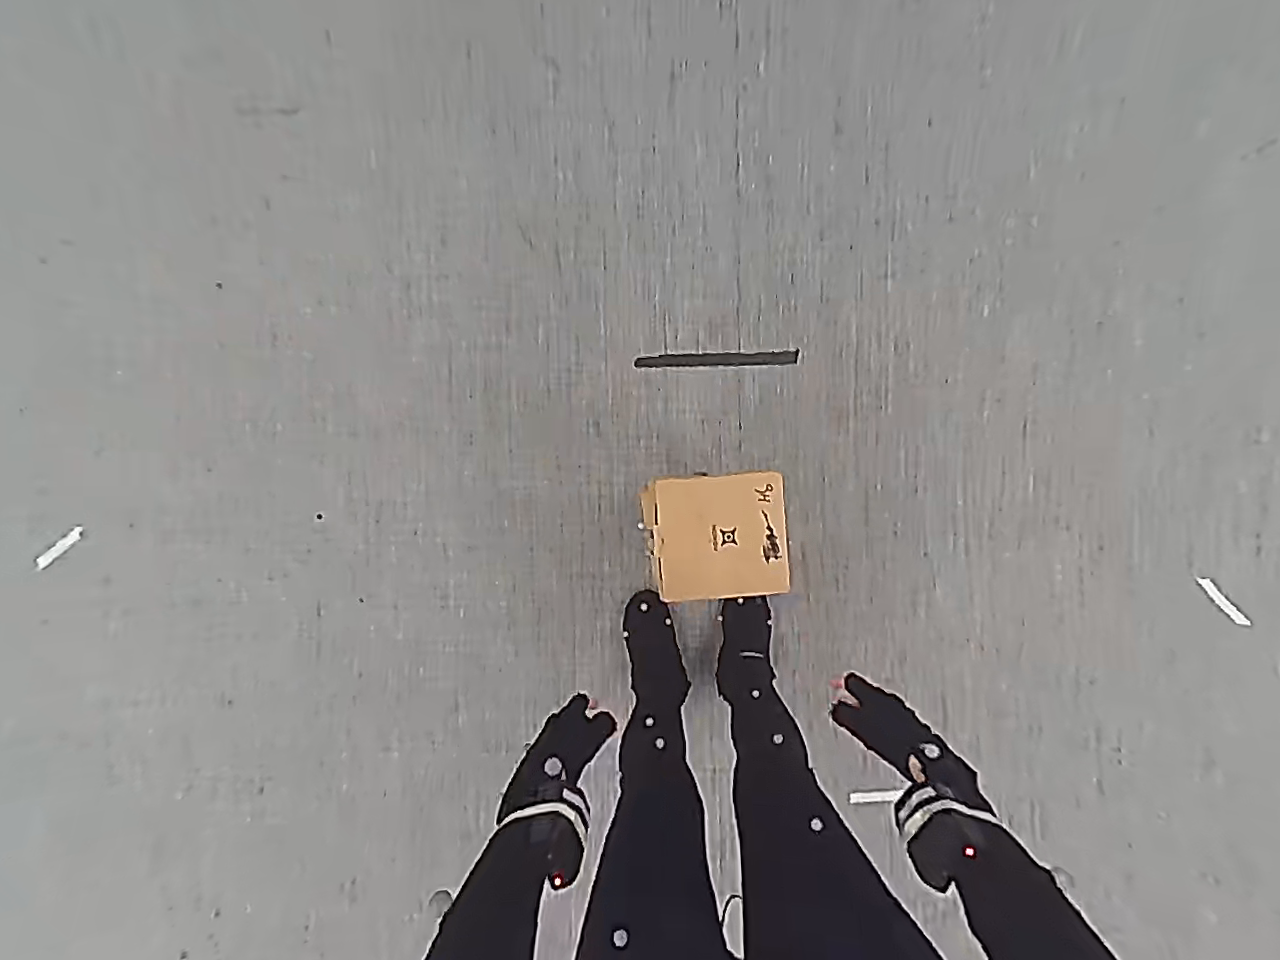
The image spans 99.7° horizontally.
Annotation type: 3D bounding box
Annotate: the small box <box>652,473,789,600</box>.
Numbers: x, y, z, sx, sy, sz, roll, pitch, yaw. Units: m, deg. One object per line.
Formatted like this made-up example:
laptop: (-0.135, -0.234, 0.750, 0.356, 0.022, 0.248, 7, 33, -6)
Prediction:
small box: (0.109, 0.077, 0.801, 0.179, 0.176, 0.168, -4, 90, 0)
